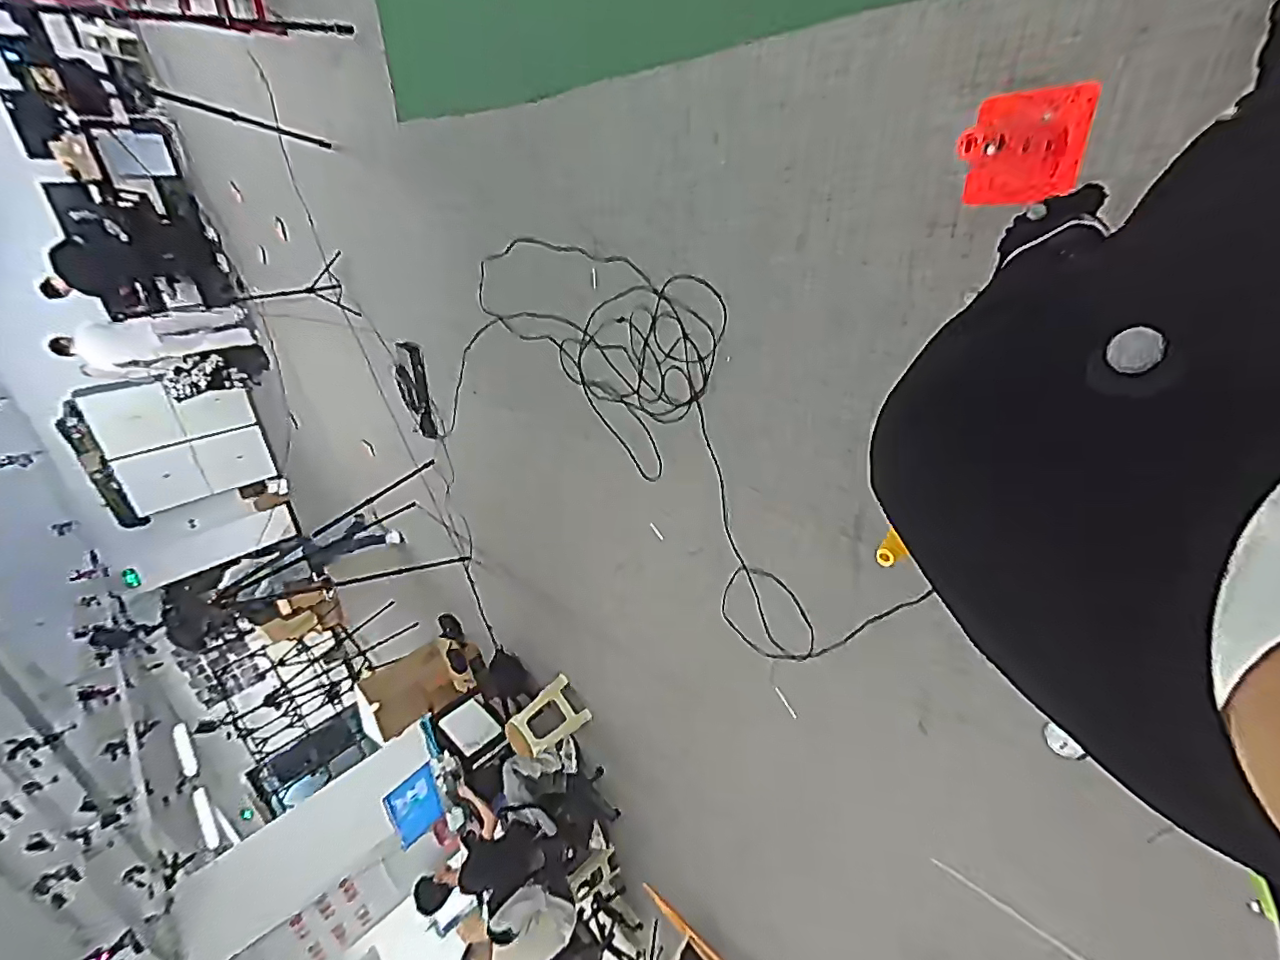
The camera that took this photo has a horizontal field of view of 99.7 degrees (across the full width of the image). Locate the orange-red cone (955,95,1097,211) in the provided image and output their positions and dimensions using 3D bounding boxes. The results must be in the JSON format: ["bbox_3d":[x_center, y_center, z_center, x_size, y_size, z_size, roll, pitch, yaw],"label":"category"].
[{"bbox_3d":[0.666,-0.599,0.999,0.198,0.360,0.199,24,128,40],"label":"orange-red cone"}]

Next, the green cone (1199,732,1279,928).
[{"bbox_3d":[1.265,0.724,1.073,0.202,0.368,0.200,22,125,41],"label":"green cone"}]
